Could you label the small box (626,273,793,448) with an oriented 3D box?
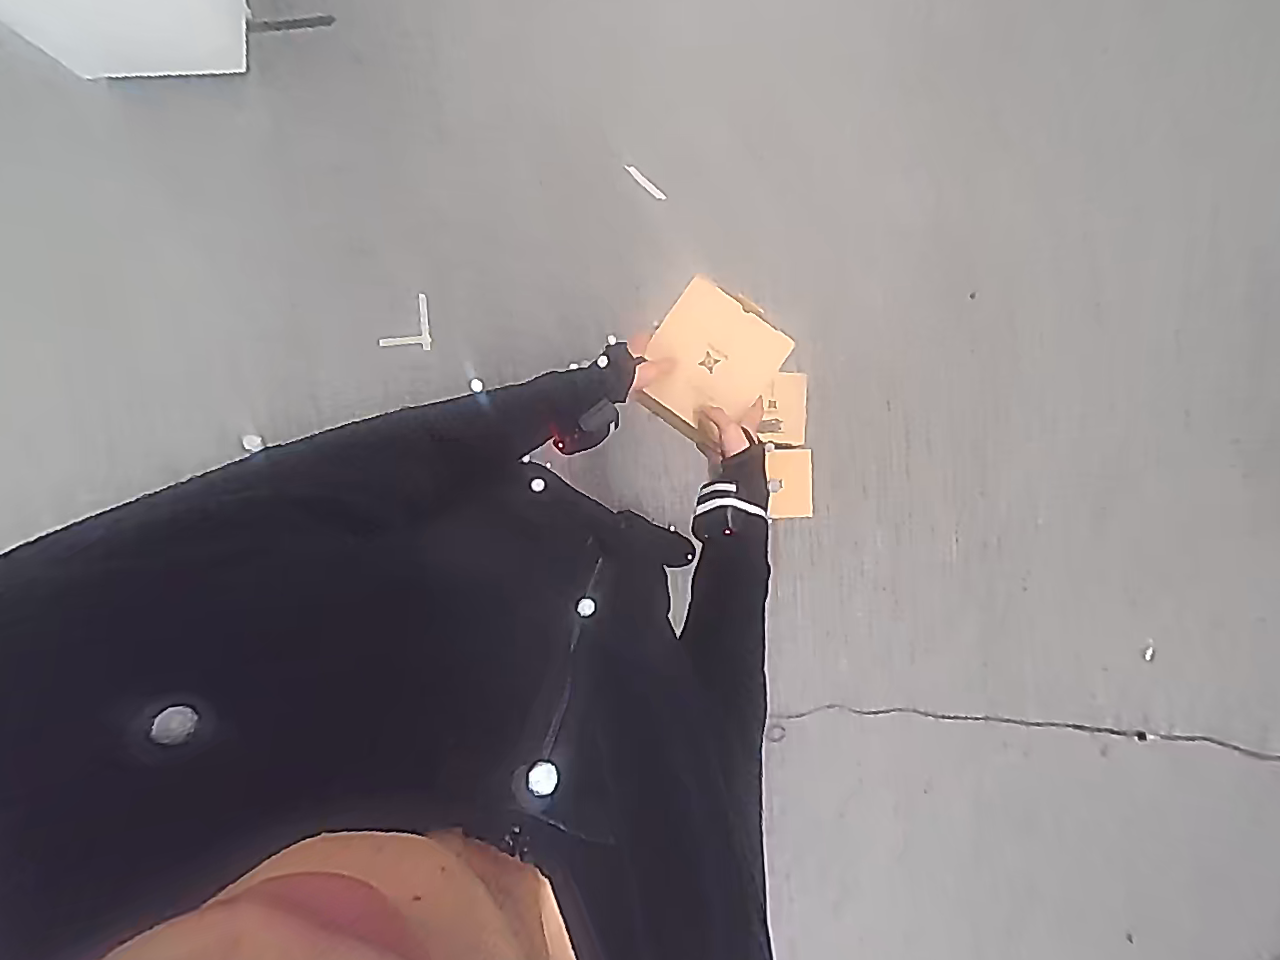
[{"bbox_3d":[0.089,-0.164,0.800,0.168,0.176,0.179,35,91,-3],"label":"small box"}]
